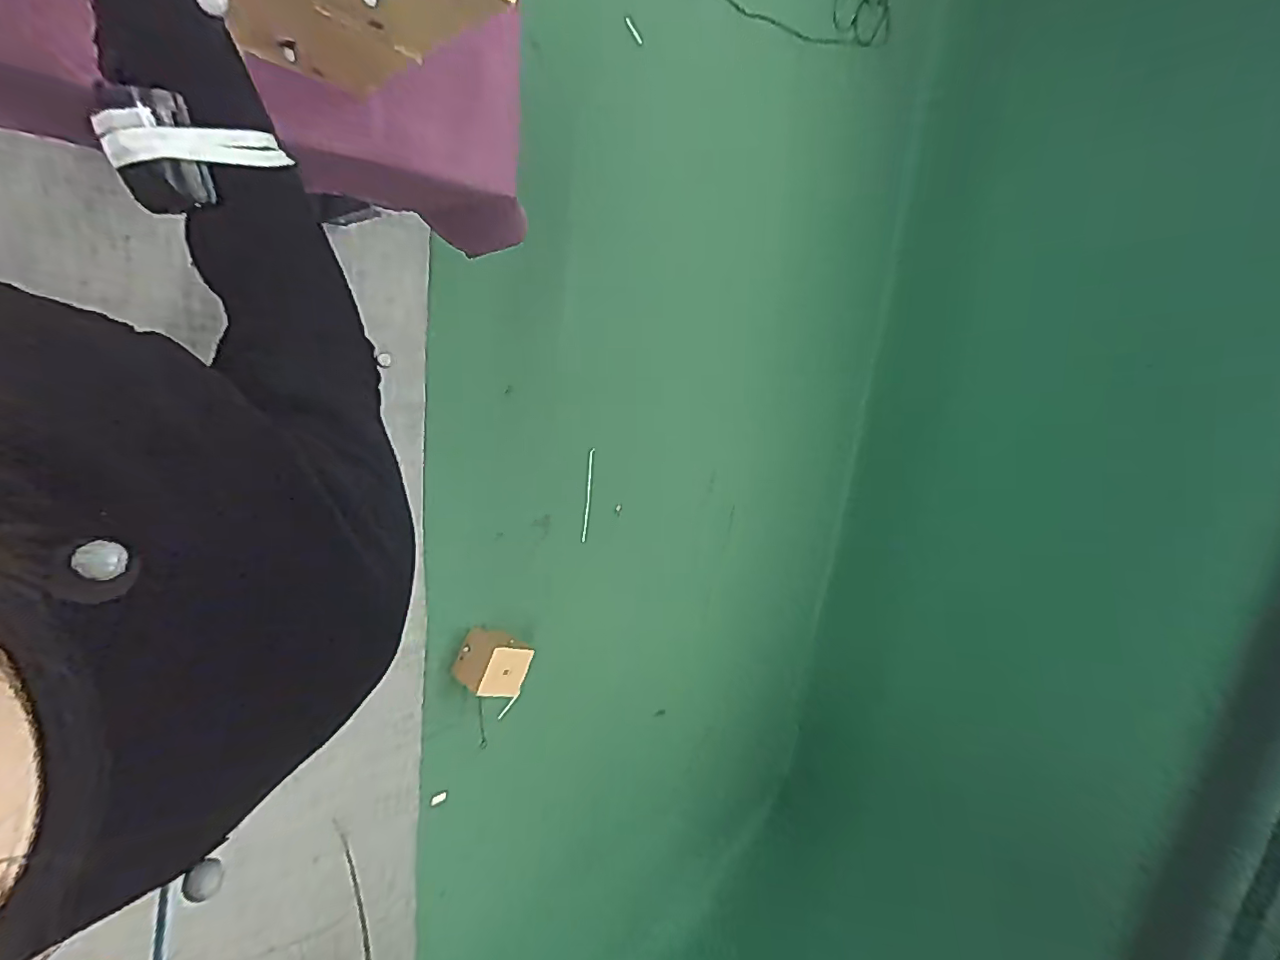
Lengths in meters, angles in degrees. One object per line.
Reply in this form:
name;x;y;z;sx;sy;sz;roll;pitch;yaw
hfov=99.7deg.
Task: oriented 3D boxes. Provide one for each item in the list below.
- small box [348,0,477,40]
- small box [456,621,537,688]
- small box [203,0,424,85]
small box;-0.211;-0.508;0.436;0.168;0.176;0.179;-7;108;-46
small box;-0.493;0.597;1.857;0.179;0.176;0.168;28;82;-48
small box;-0.330;-0.546;0.544;0.168;0.176;0.179;-5;107;-46
